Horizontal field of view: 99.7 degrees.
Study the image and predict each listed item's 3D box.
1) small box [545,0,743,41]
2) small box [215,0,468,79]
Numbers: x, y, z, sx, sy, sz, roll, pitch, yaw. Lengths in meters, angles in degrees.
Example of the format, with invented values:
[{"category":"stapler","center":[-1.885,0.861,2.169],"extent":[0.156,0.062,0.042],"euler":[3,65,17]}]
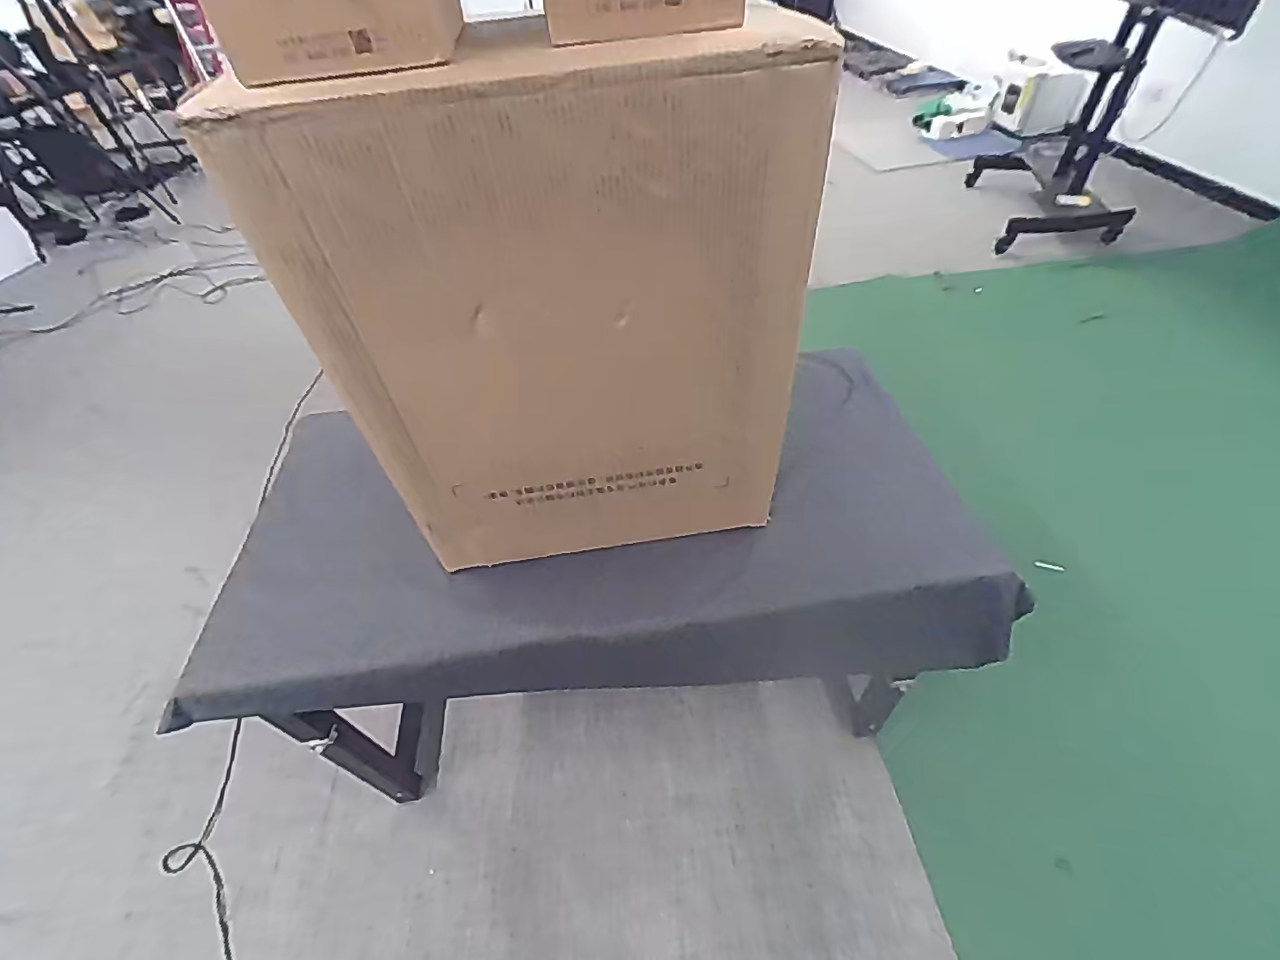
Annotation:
[{"category":"small box","center":[-0.005,-0.484,0.451],"extent":[0.168,0.176,0.179],"euler":[-6,48,-4]},{"category":"small box","center":[-0.246,-0.440,0.428],"extent":[0.168,0.176,0.179],"euler":[-8,50,-2]}]
